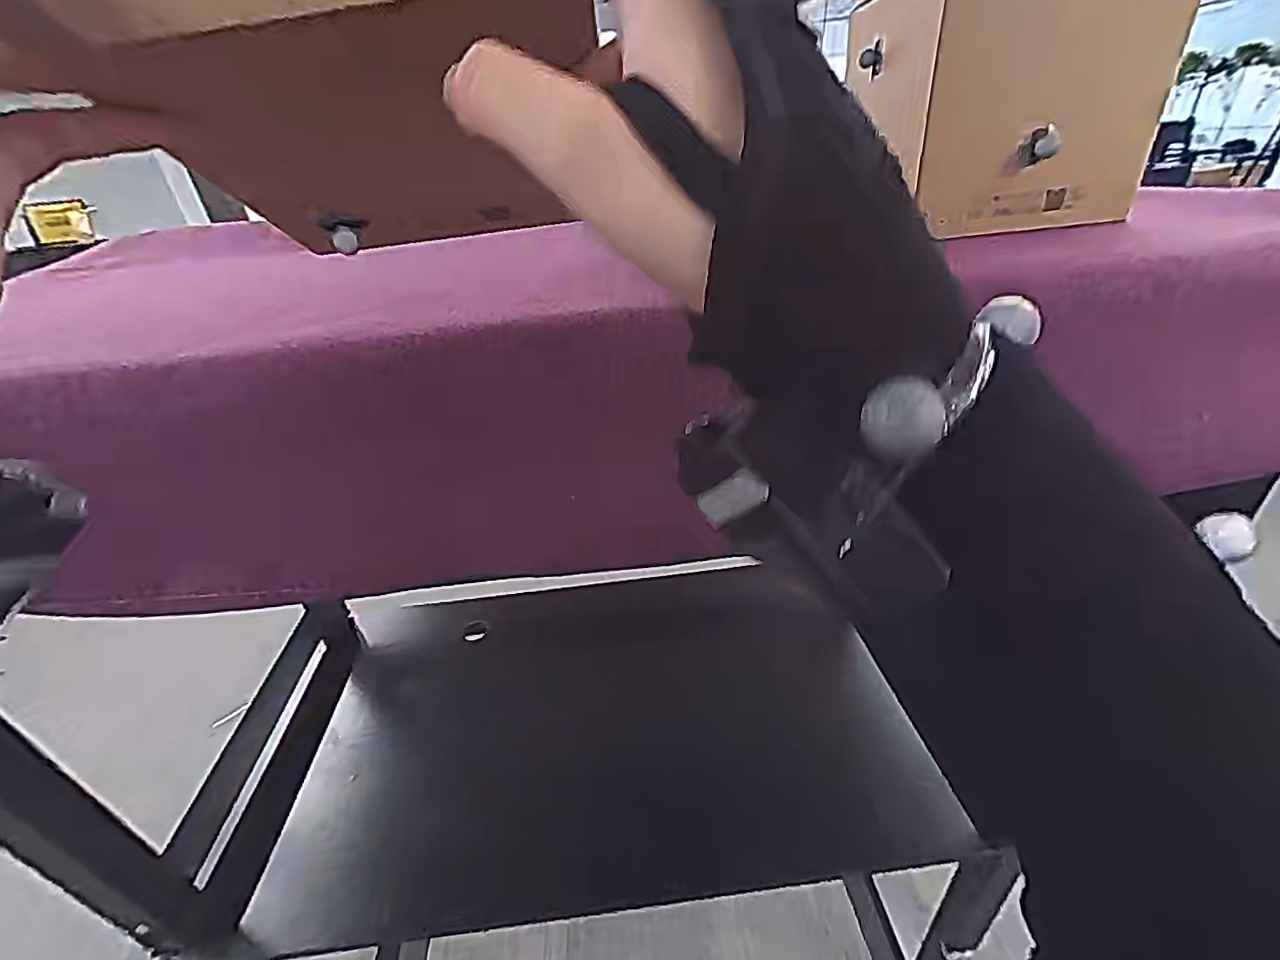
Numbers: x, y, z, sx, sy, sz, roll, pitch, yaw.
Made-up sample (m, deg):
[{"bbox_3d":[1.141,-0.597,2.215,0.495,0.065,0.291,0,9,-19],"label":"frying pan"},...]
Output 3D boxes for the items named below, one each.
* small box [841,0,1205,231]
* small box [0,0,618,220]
[{"bbox_3d":[0.274,-0.302,0.433,0.168,0.176,0.179,-5,31,1],"label":"small box"},{"bbox_3d":[-0.102,-0.221,0.205,0.168,0.179,0.176,-7,-2,1],"label":"small box"}]
